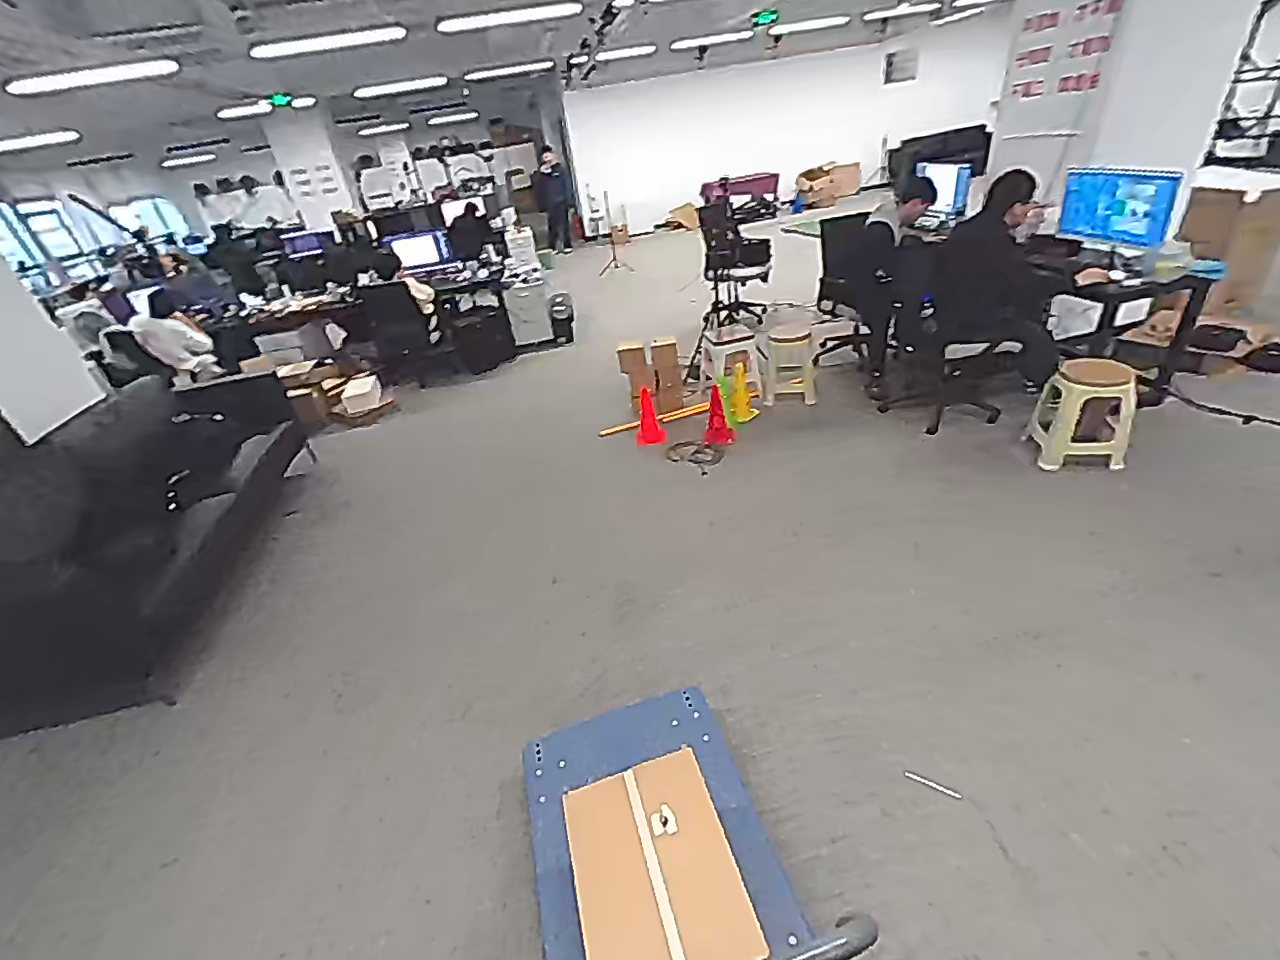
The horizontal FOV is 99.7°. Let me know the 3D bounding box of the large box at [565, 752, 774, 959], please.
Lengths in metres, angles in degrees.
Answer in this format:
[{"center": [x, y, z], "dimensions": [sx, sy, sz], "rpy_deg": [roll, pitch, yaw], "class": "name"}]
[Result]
[{"center": [0.058, 0.889, 1.139], "dimensions": [0.320, 0.320, 0.408], "rpy_deg": [-16, 32, -9], "class": "large box"}]
